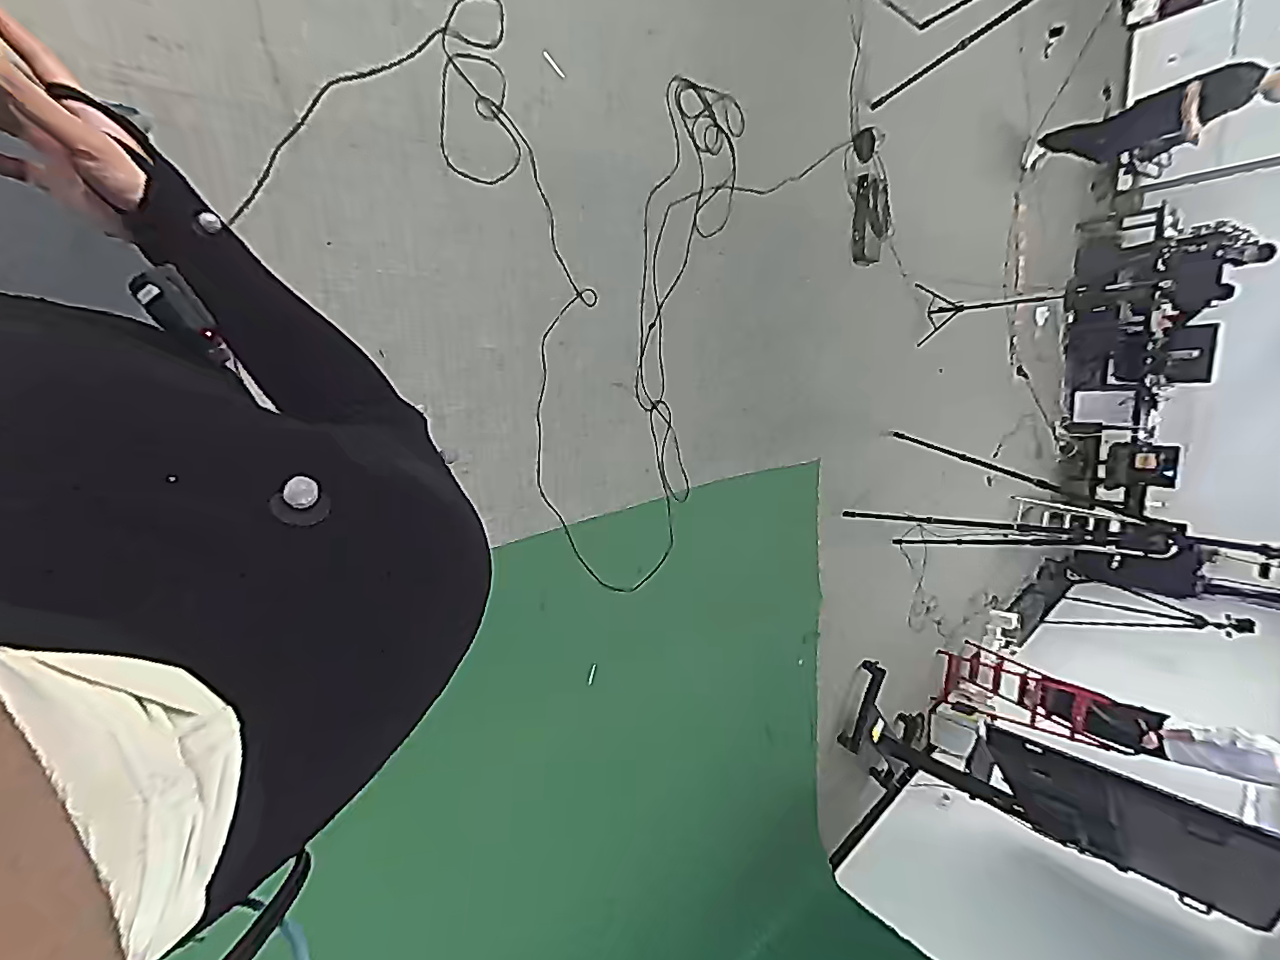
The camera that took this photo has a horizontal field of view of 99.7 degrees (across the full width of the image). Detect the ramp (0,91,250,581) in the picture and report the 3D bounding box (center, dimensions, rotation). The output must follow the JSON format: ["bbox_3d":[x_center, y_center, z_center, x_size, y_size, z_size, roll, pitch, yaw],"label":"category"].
[{"bbox_3d":[-1.250,-0.319,1.150,0.509,0.206,0.991,-17,107,-36],"label":"ramp"}]
